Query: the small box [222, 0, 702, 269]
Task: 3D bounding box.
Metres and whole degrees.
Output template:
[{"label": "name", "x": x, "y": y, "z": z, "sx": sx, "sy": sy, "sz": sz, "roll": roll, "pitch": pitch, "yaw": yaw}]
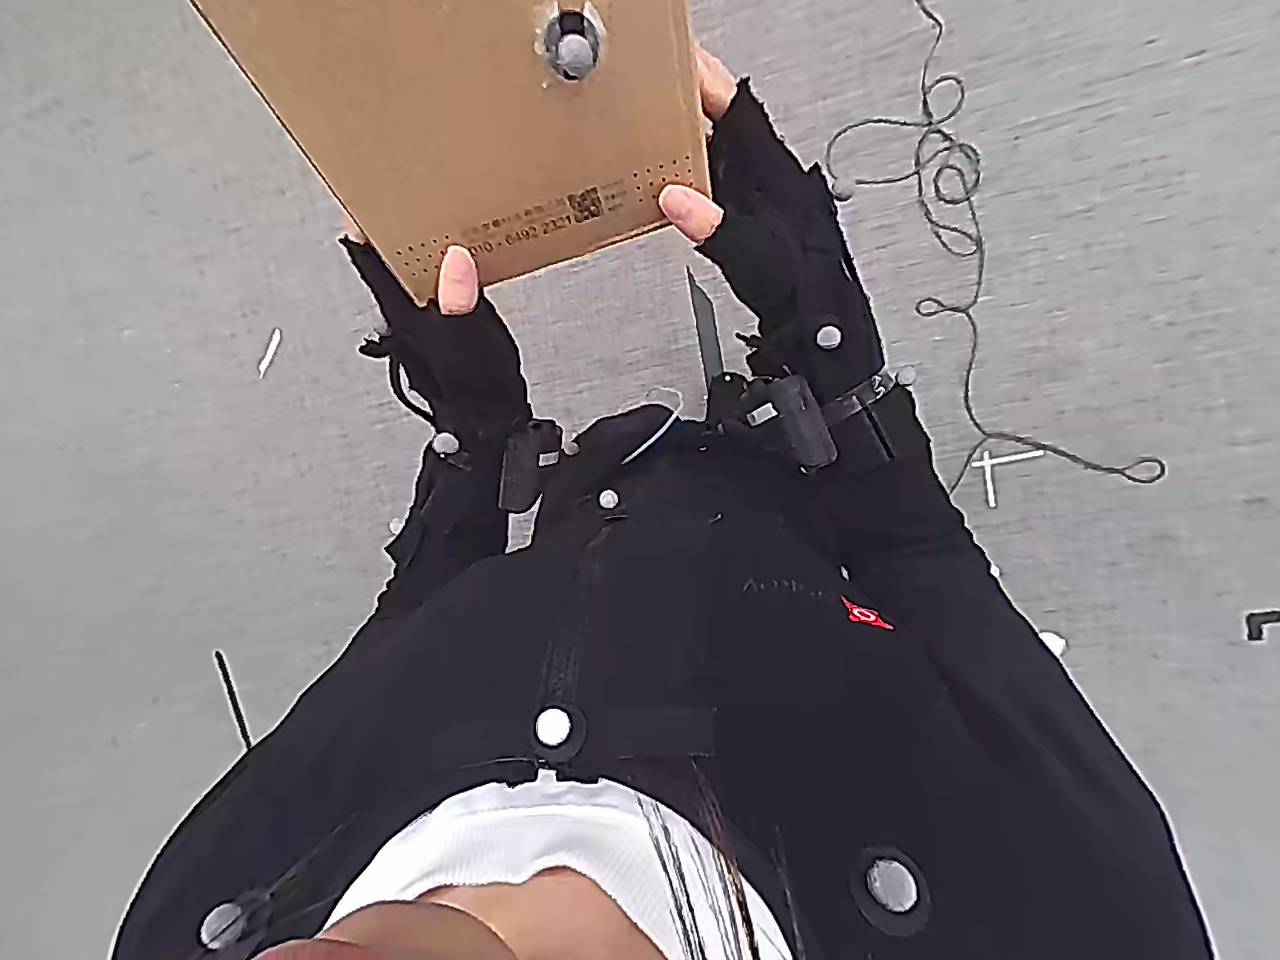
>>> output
[{"label": "small box", "x": -0.071, "y": -0.235, "z": 0.278, "sx": 0.168, "sy": 0.176, "sz": 0.179, "roll": -14, "pitch": 57, "yaw": 6}]
